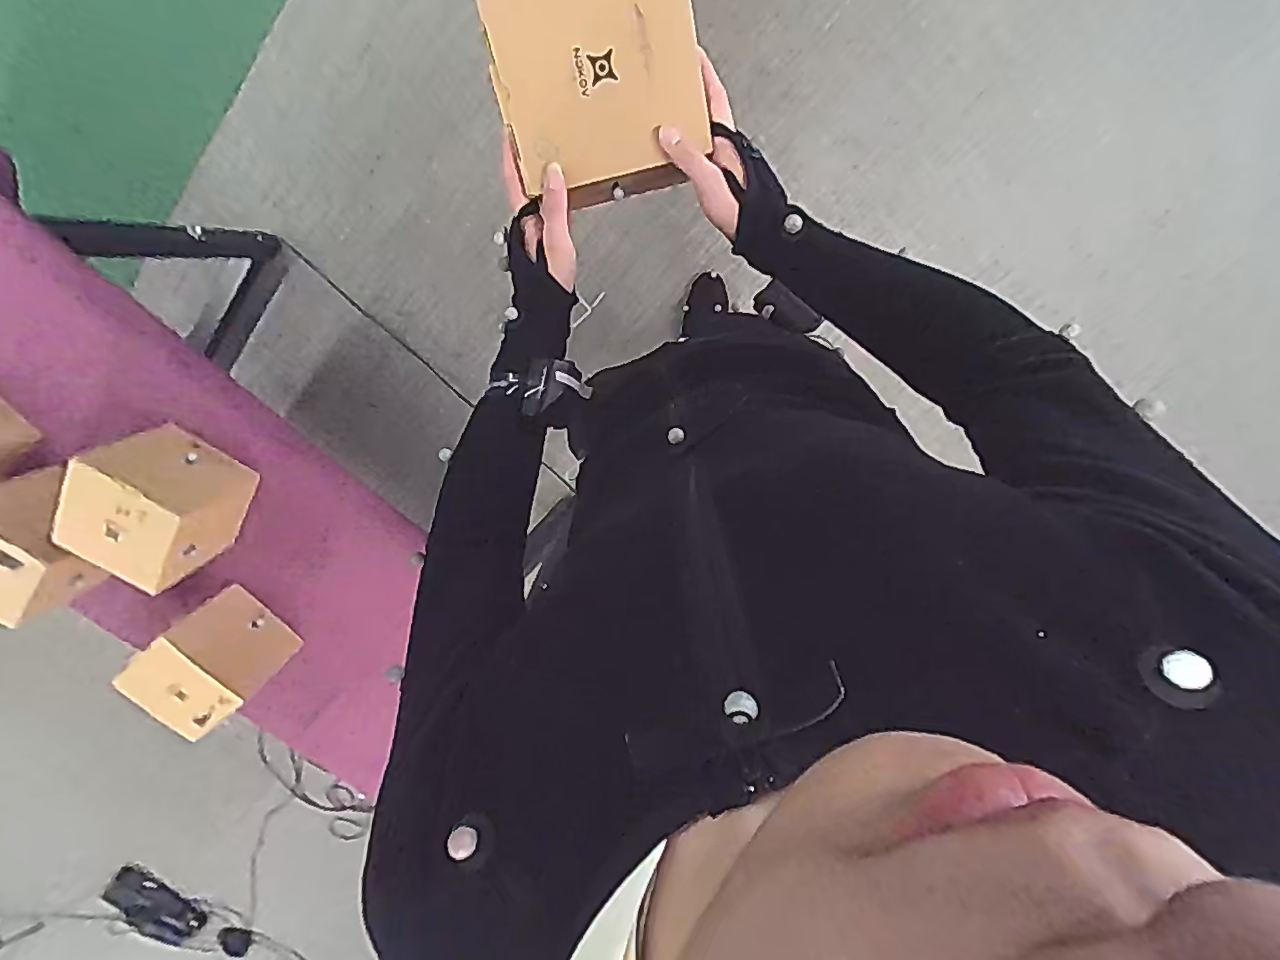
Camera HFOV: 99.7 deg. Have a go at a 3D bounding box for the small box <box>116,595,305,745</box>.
[{"bbox_3d":[-0.782,0.340,1.003,0.168,0.176,0.179,-36,104,16],"label":"small box"}]

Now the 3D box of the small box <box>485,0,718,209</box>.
[{"bbox_3d":[-0.031,-0.379,0.534,0.179,0.176,0.168,-12,111,2],"label":"small box"}]

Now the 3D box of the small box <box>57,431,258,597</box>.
[{"bbox_3d":[-0.777,0.049,0.888,0.168,0.176,0.179,34,111,-10],"label":"small box"}]
